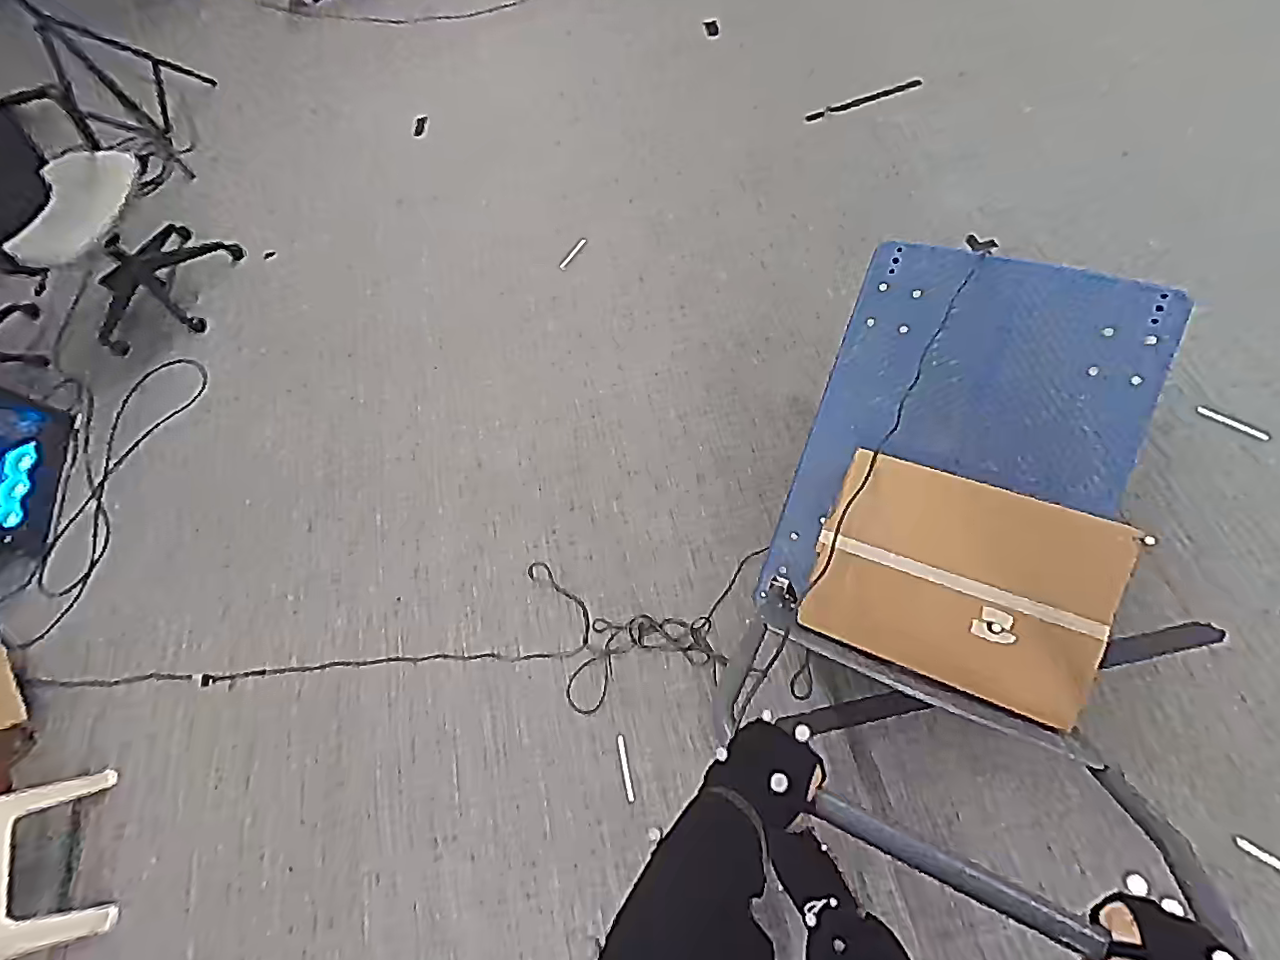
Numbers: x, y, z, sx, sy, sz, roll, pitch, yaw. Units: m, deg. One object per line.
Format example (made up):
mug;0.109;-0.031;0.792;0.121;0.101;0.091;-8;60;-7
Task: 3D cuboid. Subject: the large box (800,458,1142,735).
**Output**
large box;0.529;0.175;0.969;0.408;0.320;0.320;19;93;18
